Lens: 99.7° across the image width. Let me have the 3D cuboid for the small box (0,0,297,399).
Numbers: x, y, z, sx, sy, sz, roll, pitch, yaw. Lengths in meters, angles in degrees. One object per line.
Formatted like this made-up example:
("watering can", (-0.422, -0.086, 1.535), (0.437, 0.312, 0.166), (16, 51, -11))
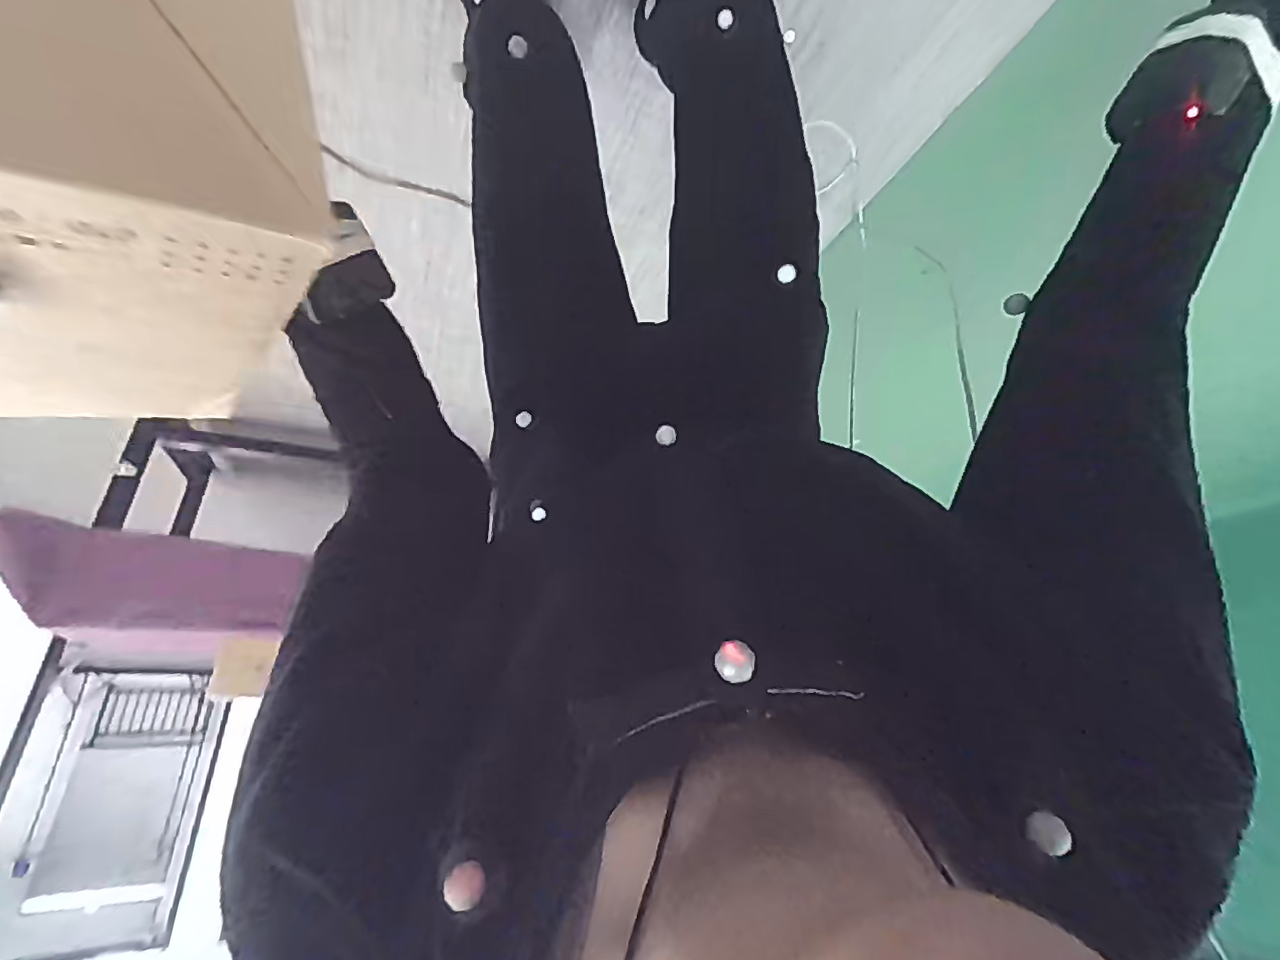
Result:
("small box", (-0.215, -0.133, 0.144), (0.176, 0.179, 0.168), (-19, 172, 42))

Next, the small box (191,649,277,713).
("small box", (-1.216, 0.607, 1.631), (0.179, 0.176, 0.168), (13, 150, -30))
